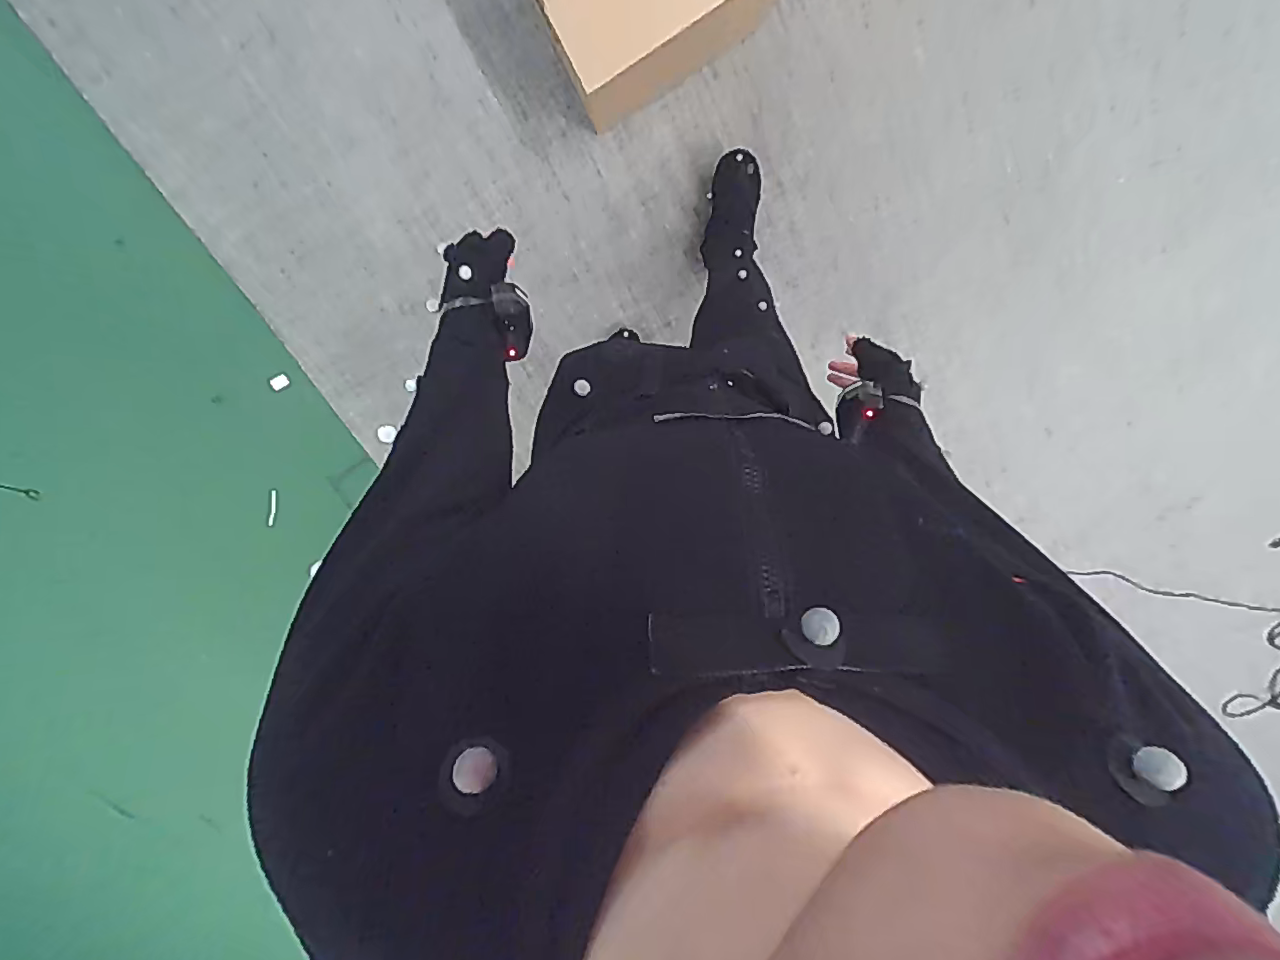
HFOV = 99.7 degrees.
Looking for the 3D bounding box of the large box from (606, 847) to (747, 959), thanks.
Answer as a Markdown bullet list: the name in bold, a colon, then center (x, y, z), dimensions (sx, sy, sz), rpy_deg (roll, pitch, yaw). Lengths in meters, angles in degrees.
- **large box**: center (0.104, 1.447, 1.751), dimensions (0.408, 0.320, 0.320), rpy_deg (6, 114, -3)
